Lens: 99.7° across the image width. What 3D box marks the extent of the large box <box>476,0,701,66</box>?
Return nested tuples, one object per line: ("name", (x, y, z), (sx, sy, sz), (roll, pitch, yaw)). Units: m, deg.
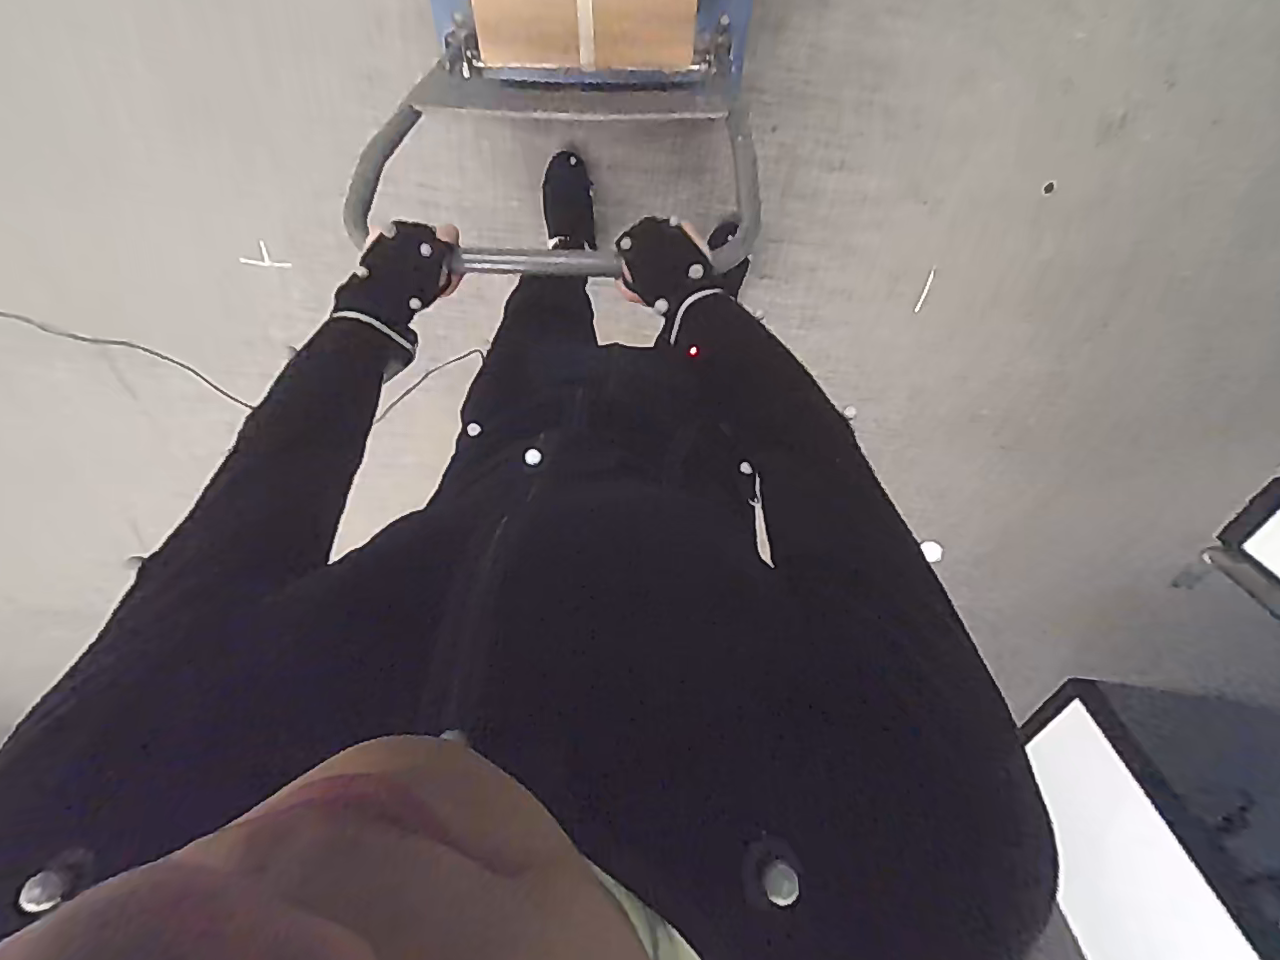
("large box", (-0.069, -0.855, 0.751), (0.320, 0.320, 0.408), (1, 138, 1))
